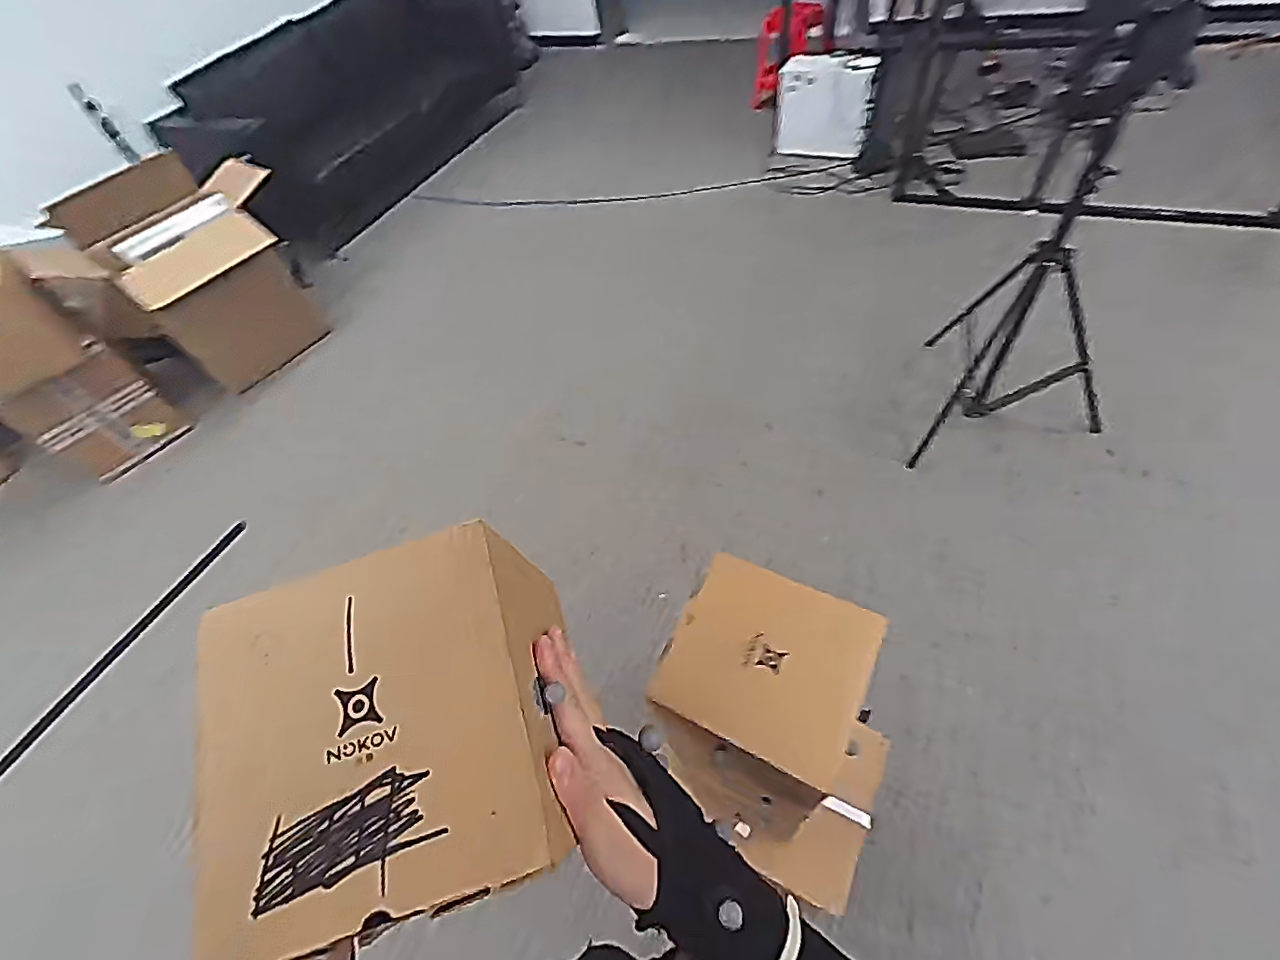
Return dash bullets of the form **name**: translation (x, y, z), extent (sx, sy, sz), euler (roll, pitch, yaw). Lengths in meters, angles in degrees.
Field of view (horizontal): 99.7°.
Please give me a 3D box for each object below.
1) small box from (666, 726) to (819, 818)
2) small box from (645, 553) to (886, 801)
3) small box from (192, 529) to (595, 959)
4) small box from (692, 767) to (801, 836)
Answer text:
- **small box**: translation (0.154, 0.306, 0.694), extent (0.179, 0.176, 0.168), euler (20, 60, 23)
- **small box**: translation (0.130, 0.209, 0.566), extent (0.179, 0.176, 0.168), euler (20, 61, 24)
- **small box**: translation (-0.137, 0.158, 0.349), extent (0.168, 0.176, 0.179), euler (-19, 65, -3)
- **small box**: translation (0.206, 0.503, 0.952), extent (0.179, 0.176, 0.168), euler (17, 59, 21)
